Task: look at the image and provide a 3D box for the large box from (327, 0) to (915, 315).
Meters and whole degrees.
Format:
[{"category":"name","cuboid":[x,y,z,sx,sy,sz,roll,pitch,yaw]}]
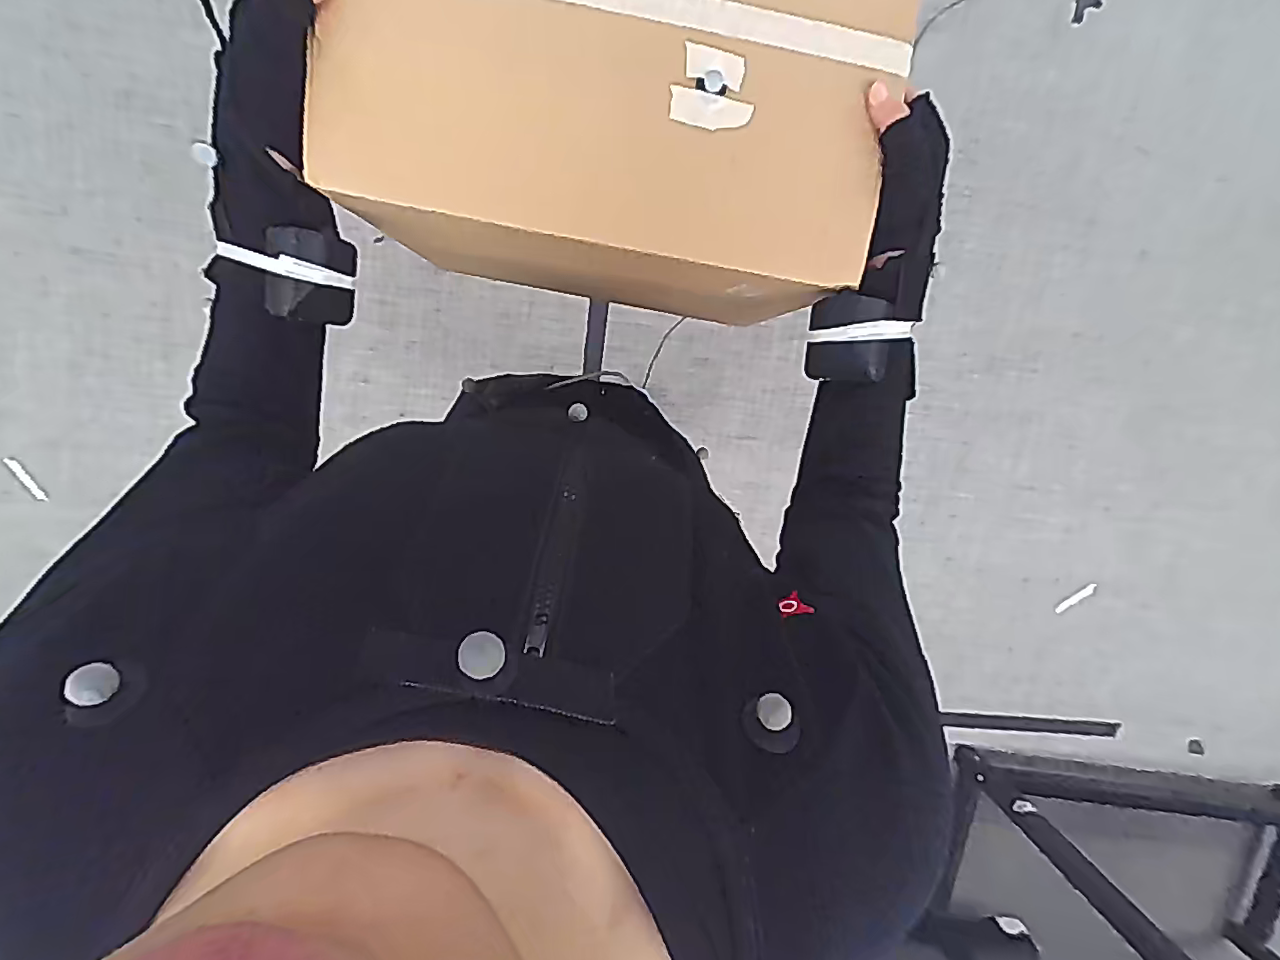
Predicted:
[{"category":"large box","cuboid":[-0.018,-0.361,0.520,0.408,0.320,0.320,9,102,-6]}]
